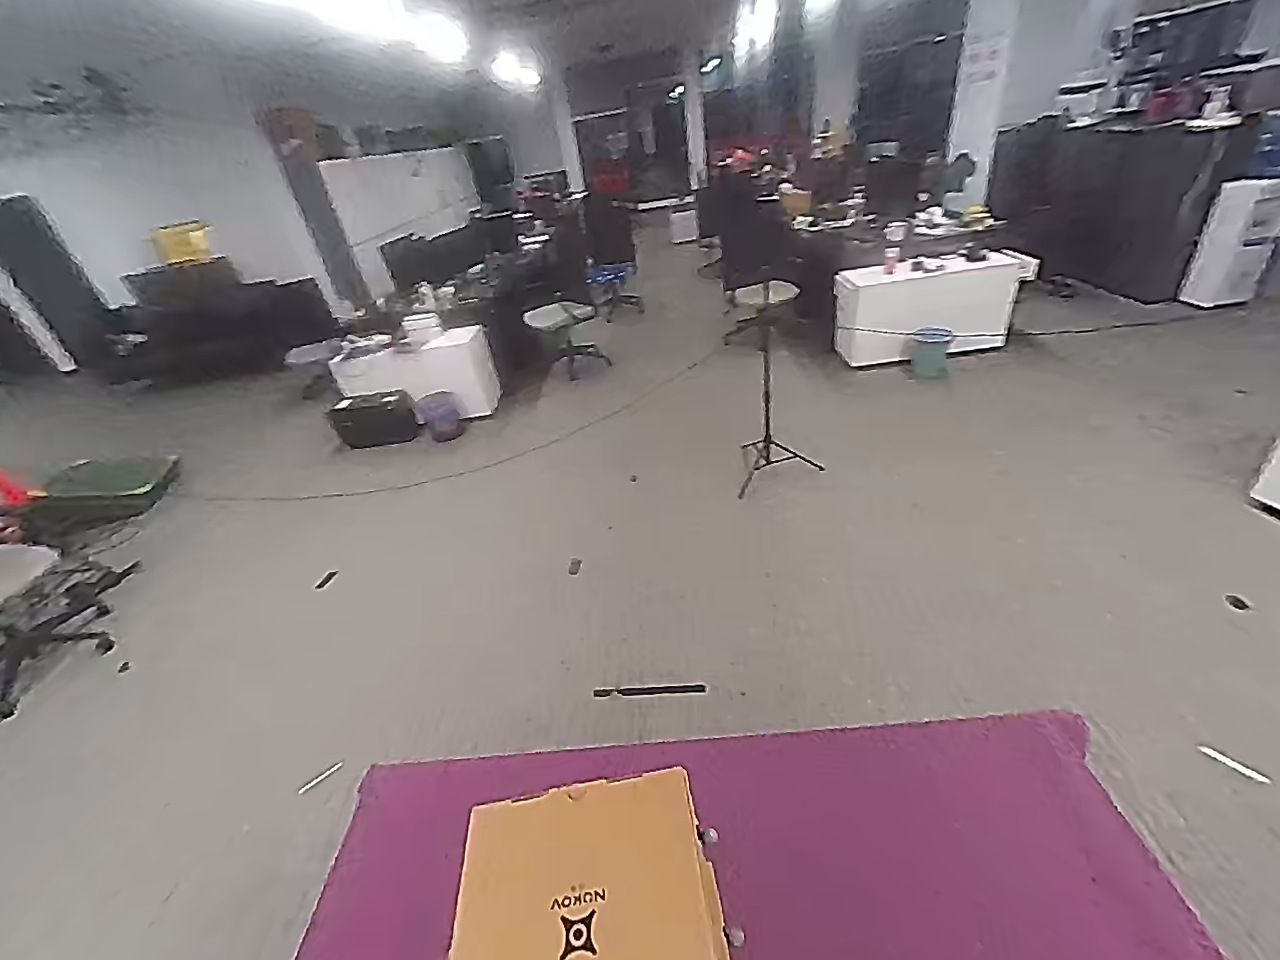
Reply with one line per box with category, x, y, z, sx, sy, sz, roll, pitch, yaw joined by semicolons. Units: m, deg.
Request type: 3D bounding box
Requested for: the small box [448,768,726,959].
small box;-0.024;0.343;0.377;0.168;0.176;0.179;-11;32;0
